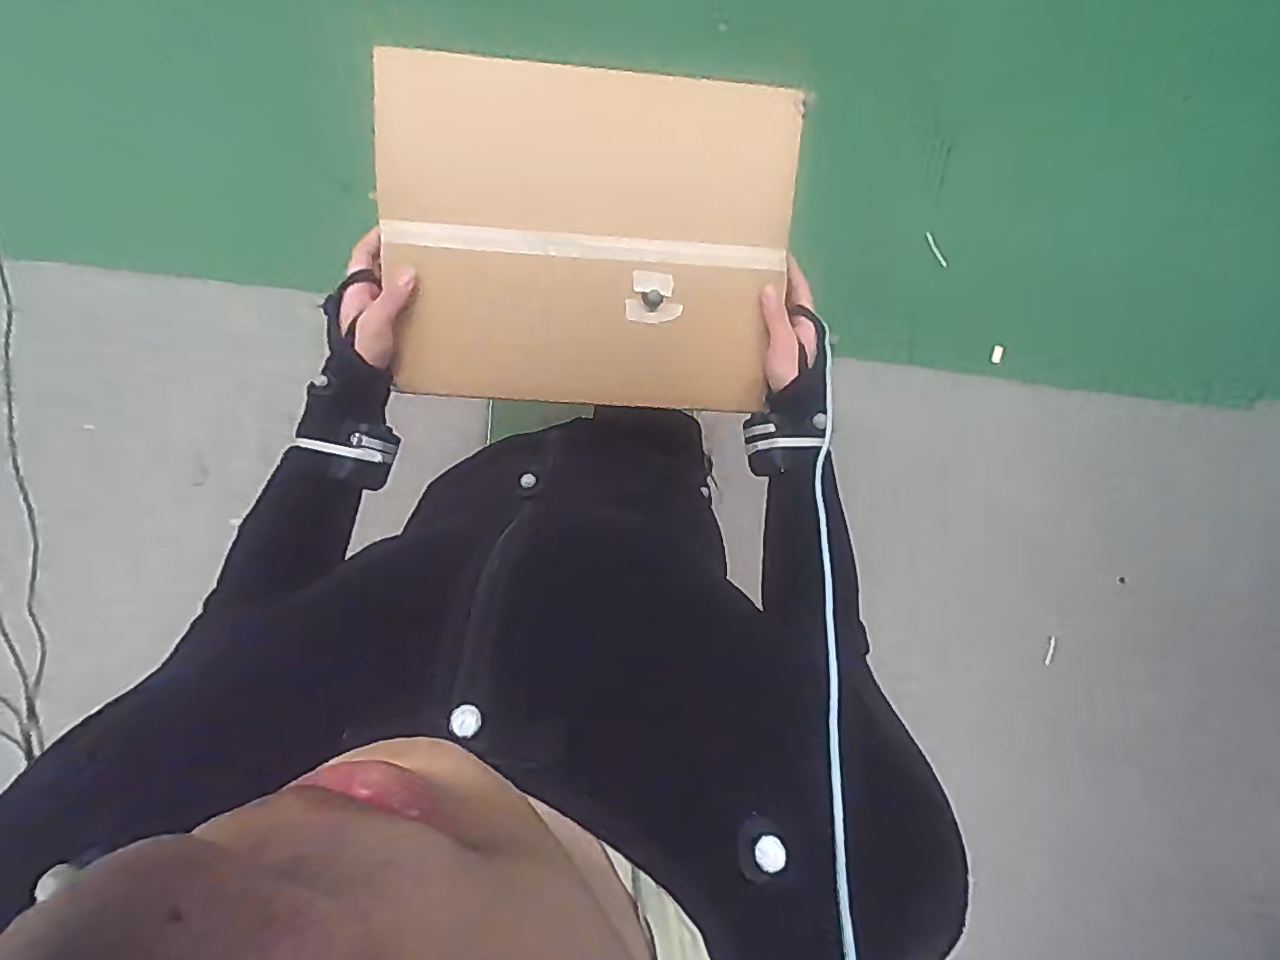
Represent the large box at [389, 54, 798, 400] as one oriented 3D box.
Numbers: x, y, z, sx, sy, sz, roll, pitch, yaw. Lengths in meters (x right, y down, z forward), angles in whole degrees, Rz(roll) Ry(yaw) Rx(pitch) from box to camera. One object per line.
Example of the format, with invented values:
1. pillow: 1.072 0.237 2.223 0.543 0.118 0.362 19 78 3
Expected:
1. large box: -0.059 -0.274 0.697 0.408 0.320 0.320 2 103 -5
